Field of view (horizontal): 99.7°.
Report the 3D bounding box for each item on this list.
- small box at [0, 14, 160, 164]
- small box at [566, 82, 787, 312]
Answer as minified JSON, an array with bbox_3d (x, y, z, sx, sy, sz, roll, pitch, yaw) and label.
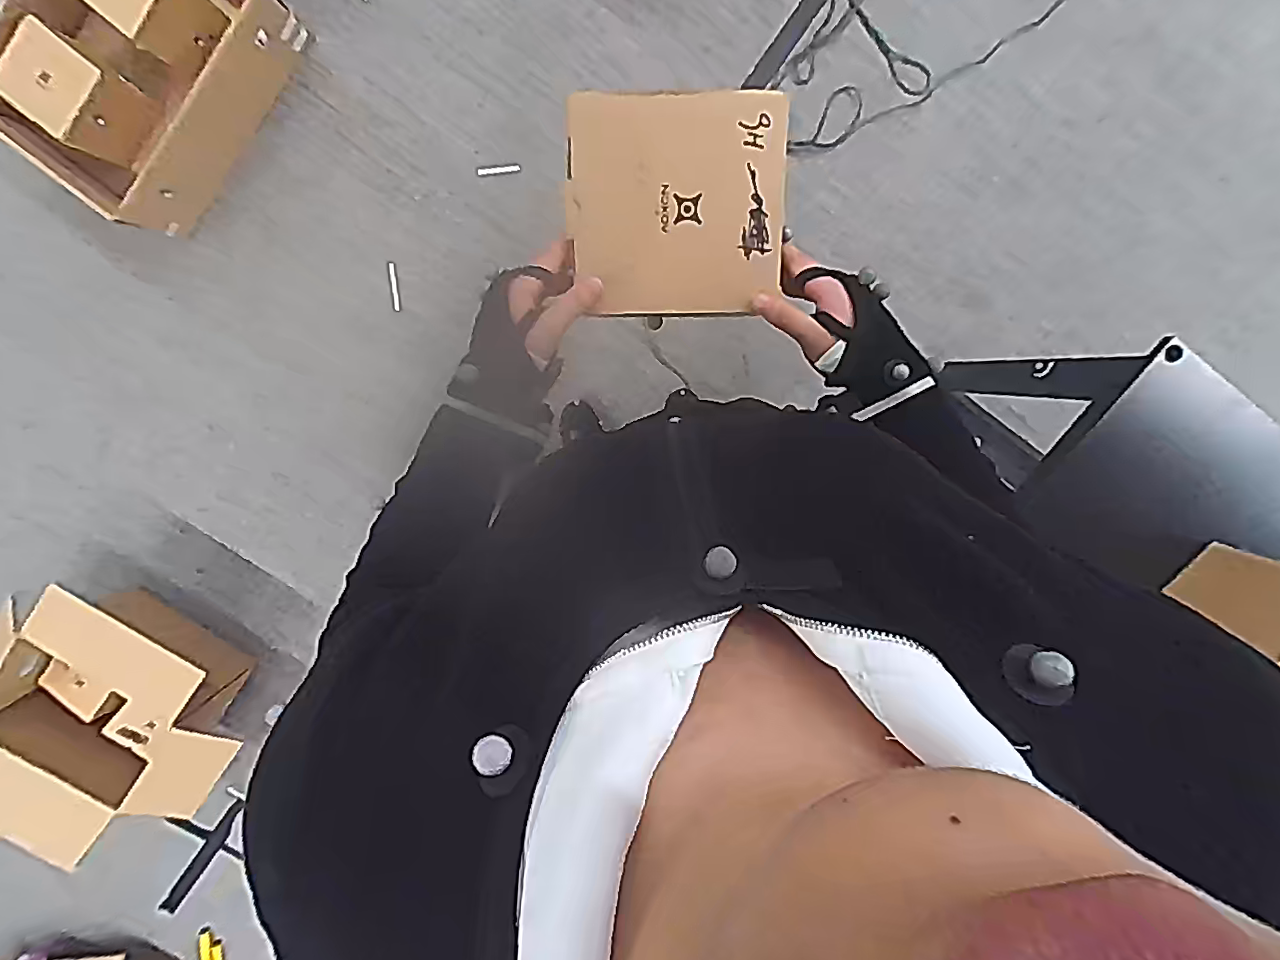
[{"bbox_3d":[-1.237,-0.850,1.200,0.168,0.176,0.179,40,97,-10],"label":"small box"},{"bbox_3d":[0.030,-0.252,0.521,0.179,0.176,0.168,-1,105,0],"label":"small box"}]
